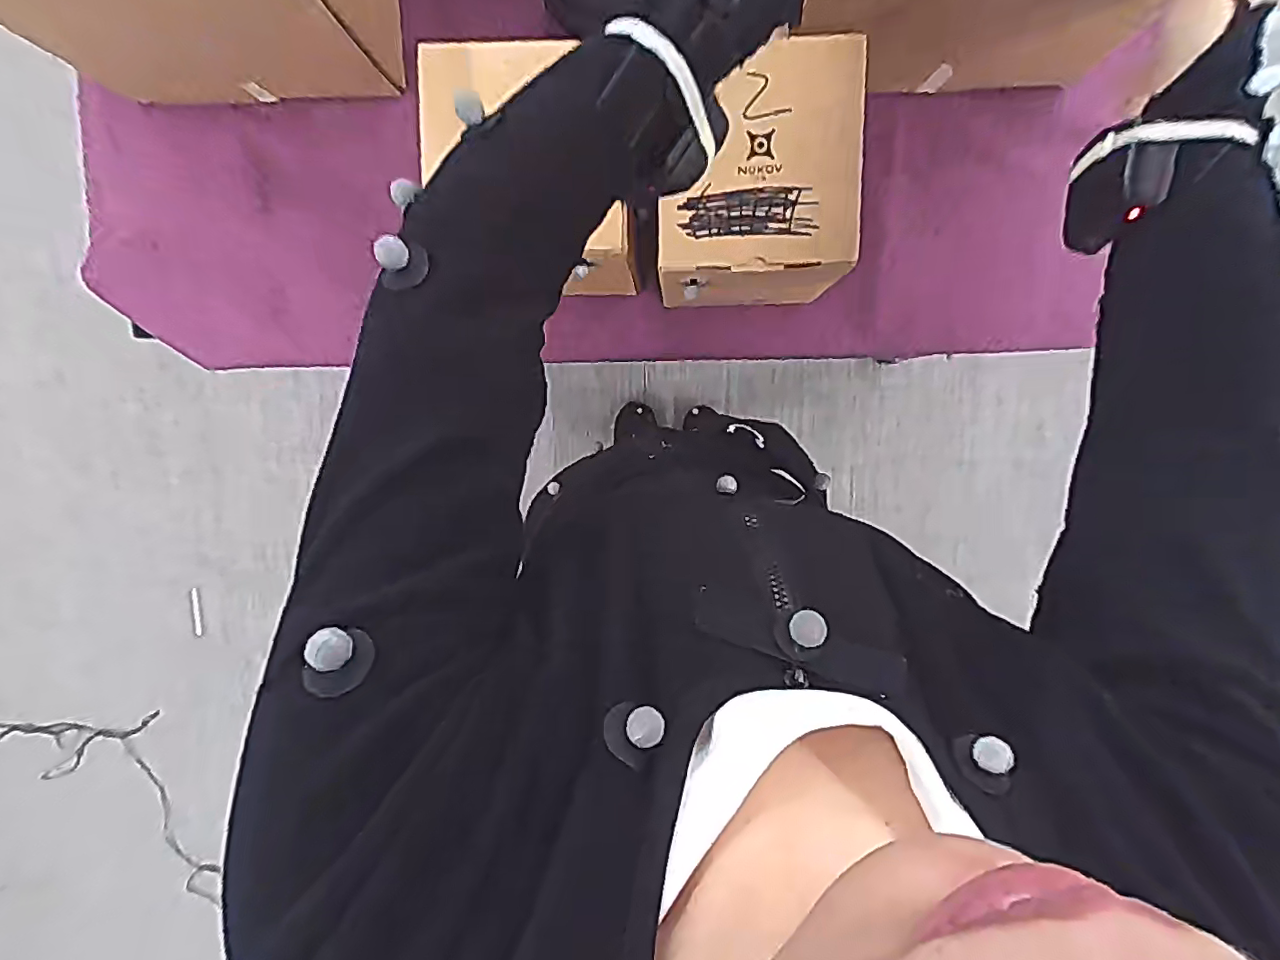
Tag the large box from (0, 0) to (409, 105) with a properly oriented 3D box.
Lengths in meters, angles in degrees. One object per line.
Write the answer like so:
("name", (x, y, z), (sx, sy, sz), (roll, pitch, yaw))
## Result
("large box", (-0.418, -0.601, 0.435), (0.320, 0.320, 0.408), (-2, 100, 2))
